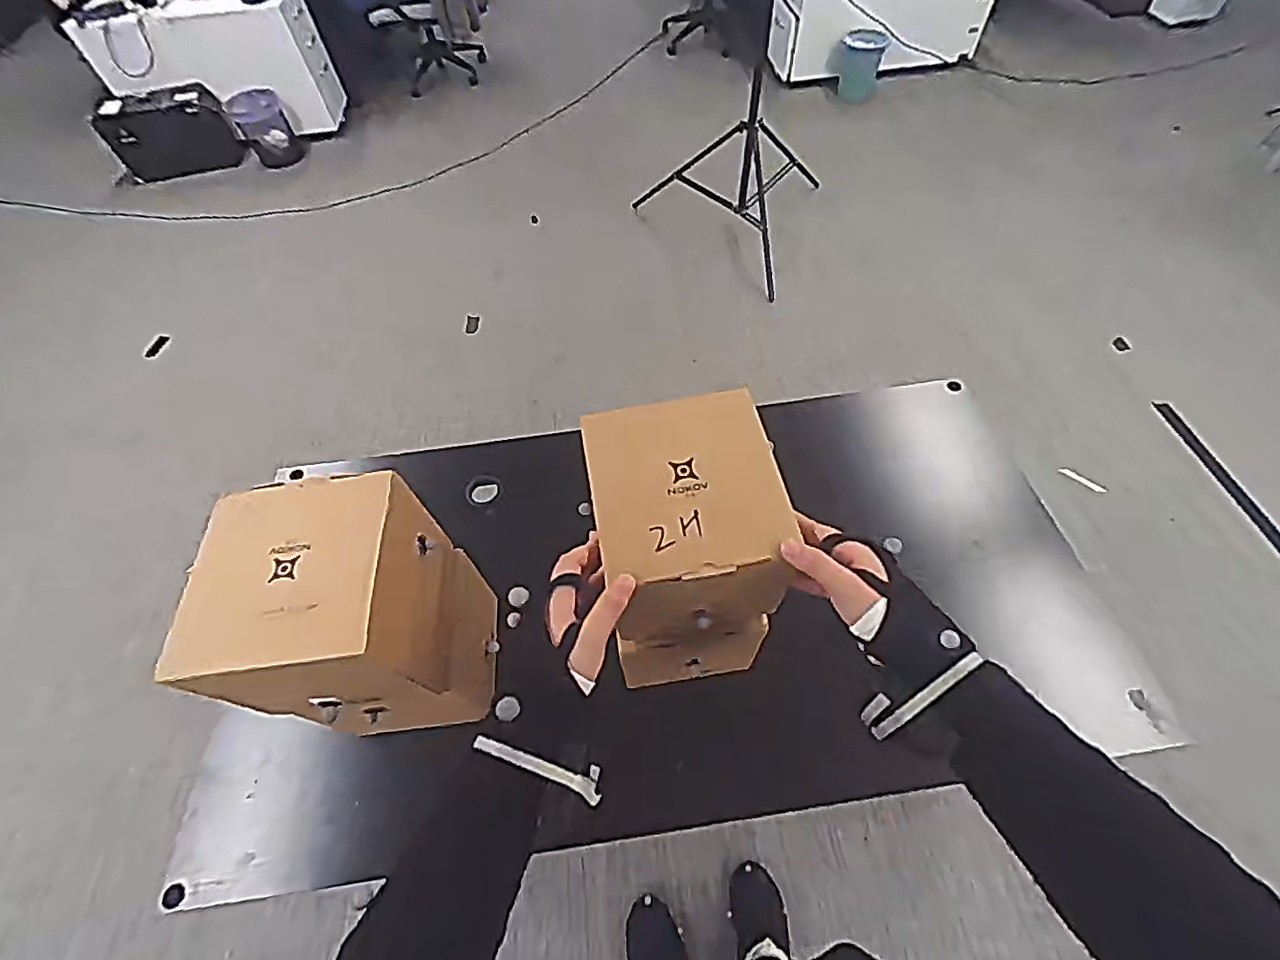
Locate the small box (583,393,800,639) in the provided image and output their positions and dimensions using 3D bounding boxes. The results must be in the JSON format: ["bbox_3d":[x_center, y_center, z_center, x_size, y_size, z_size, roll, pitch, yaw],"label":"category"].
[{"bbox_3d":[0.040,0.041,0.547,0.168,0.176,0.179,-10,59,-3],"label":"small box"}]

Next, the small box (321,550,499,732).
[{"bbox_3d":[-0.286,0.204,0.670,0.179,0.176,0.168,-6,57,-2],"label":"small box"}]

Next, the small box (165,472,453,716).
[{"bbox_3d":[-0.296,0.117,0.534,0.168,0.176,0.179,-8,58,-1],"label":"small box"}]

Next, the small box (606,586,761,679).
[{"bbox_3d":[0.046,0.145,0.693,0.168,0.176,0.179,-9,57,-3],"label":"small box"}]
